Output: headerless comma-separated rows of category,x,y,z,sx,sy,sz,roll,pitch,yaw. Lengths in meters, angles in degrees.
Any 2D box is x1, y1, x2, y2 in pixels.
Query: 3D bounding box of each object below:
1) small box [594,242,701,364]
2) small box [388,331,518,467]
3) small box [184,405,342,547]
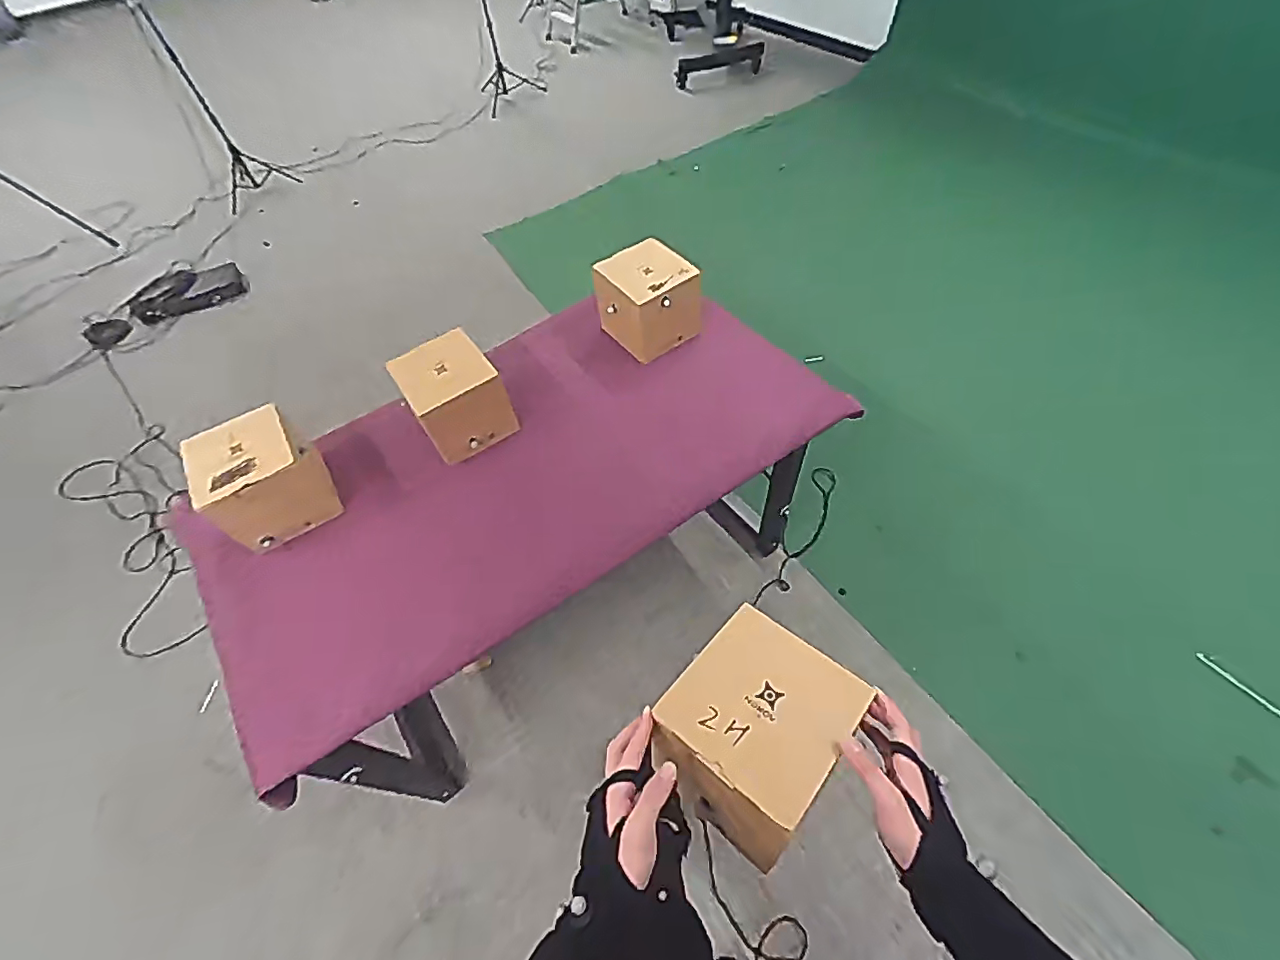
small box,0.019,-0.395,1.218,0.168,0.176,0.179,-33,59,-16
small box,-0.371,-0.160,1.092,0.168,0.176,0.179,-32,59,-16
small box,-0.689,0.001,1.002,0.168,0.176,0.179,-30,59,-16
